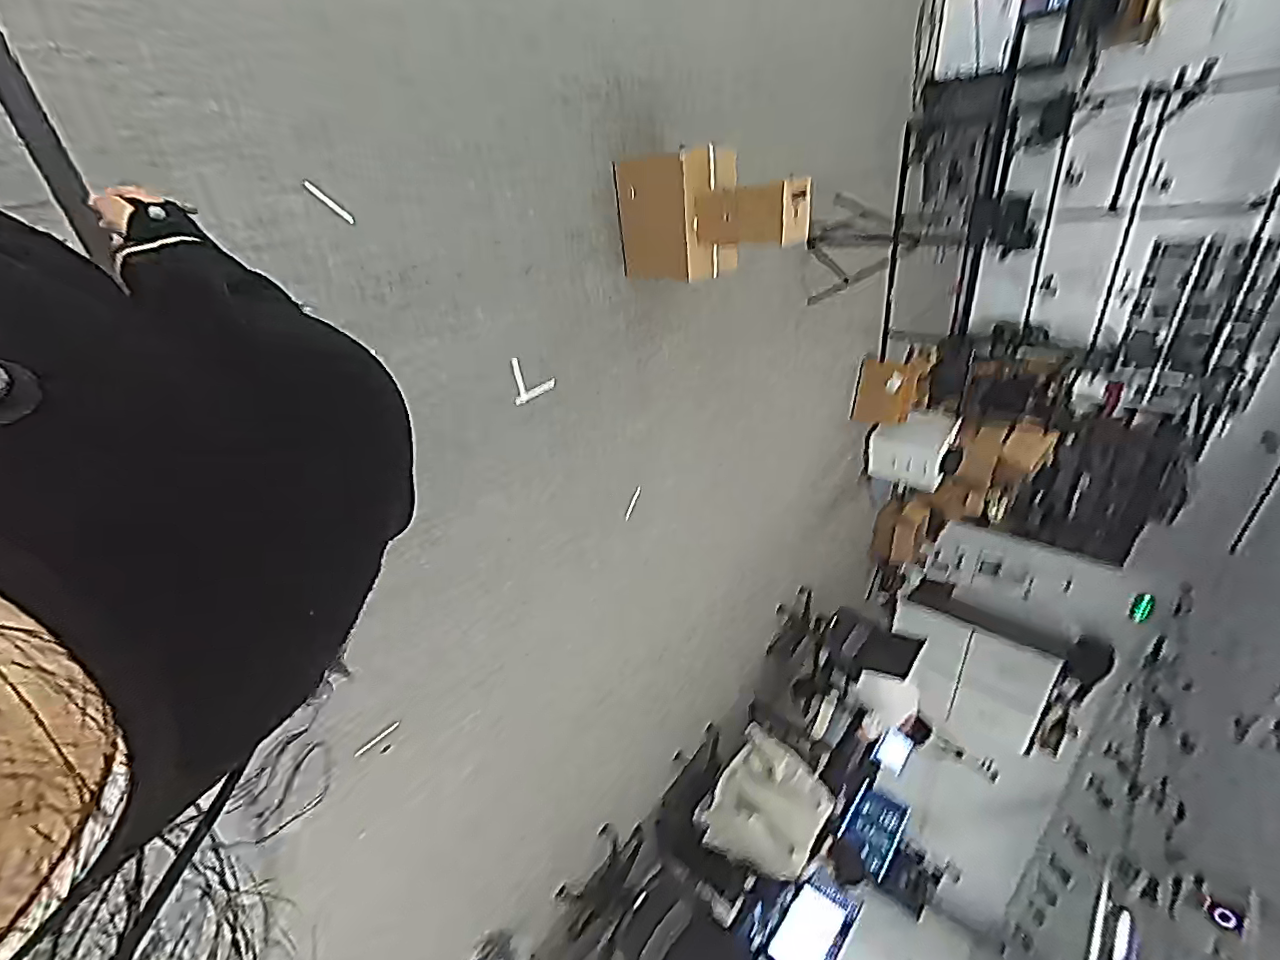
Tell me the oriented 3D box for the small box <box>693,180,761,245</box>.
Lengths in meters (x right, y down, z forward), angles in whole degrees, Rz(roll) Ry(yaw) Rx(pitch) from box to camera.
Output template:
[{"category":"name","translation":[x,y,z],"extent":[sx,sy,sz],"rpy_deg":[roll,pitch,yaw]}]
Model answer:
[{"category":"small box","translation":[0.292,-0.903,1.830],"extent":[0.168,0.176,0.179],"rpy_deg":[-34,130,-35]}]
